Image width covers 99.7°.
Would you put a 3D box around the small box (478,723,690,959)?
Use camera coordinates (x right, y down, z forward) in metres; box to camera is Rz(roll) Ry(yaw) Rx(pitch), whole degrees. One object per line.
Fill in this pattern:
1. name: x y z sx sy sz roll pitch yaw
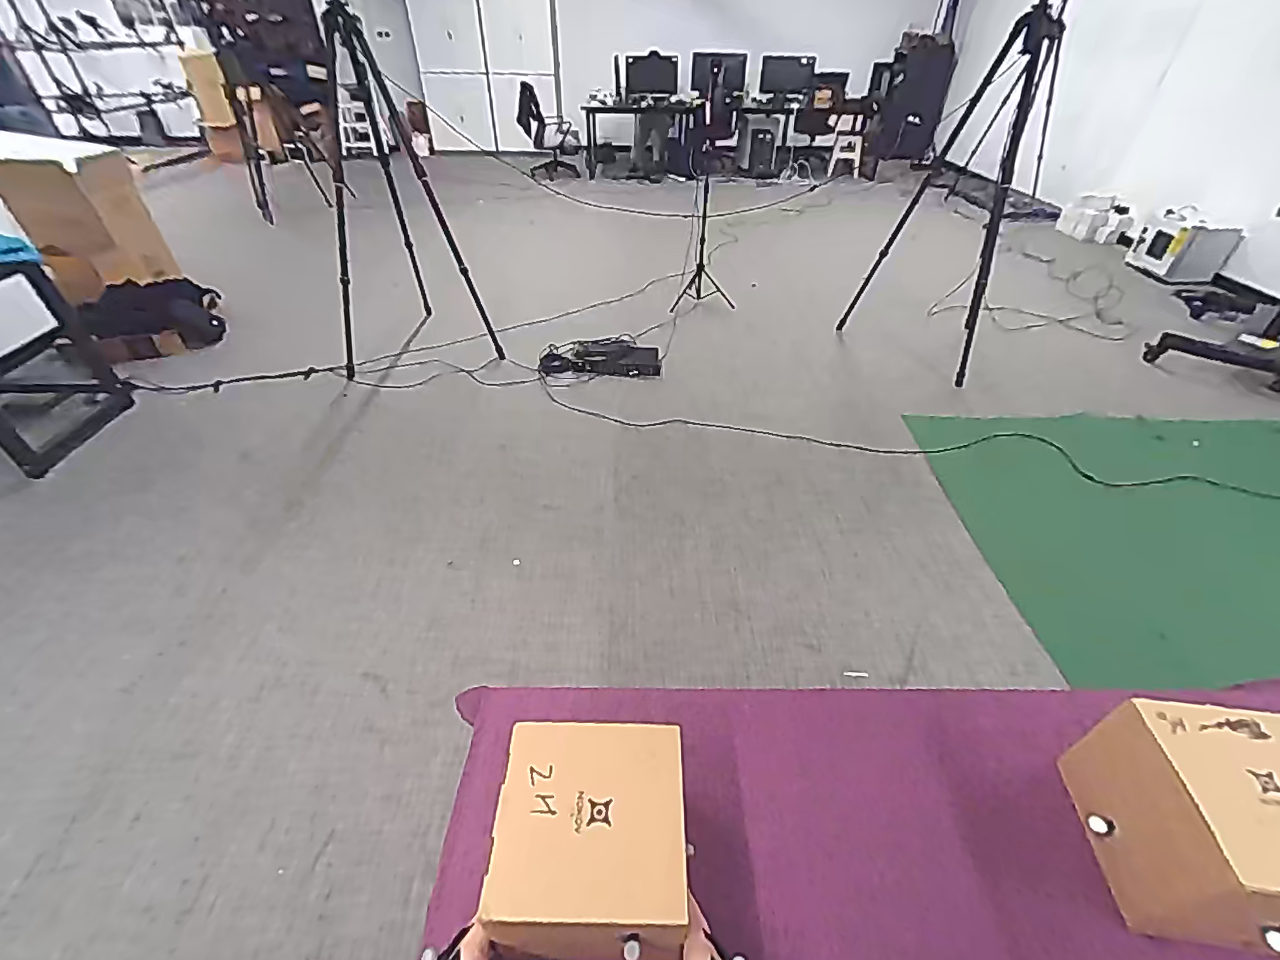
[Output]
1. small box: -0.045 0.371 0.553 0.179 0.176 0.168 1 39 1

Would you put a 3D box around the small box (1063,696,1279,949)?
1. small box: 0.599 0.356 0.563 0.168 0.176 0.179 5 41 6
